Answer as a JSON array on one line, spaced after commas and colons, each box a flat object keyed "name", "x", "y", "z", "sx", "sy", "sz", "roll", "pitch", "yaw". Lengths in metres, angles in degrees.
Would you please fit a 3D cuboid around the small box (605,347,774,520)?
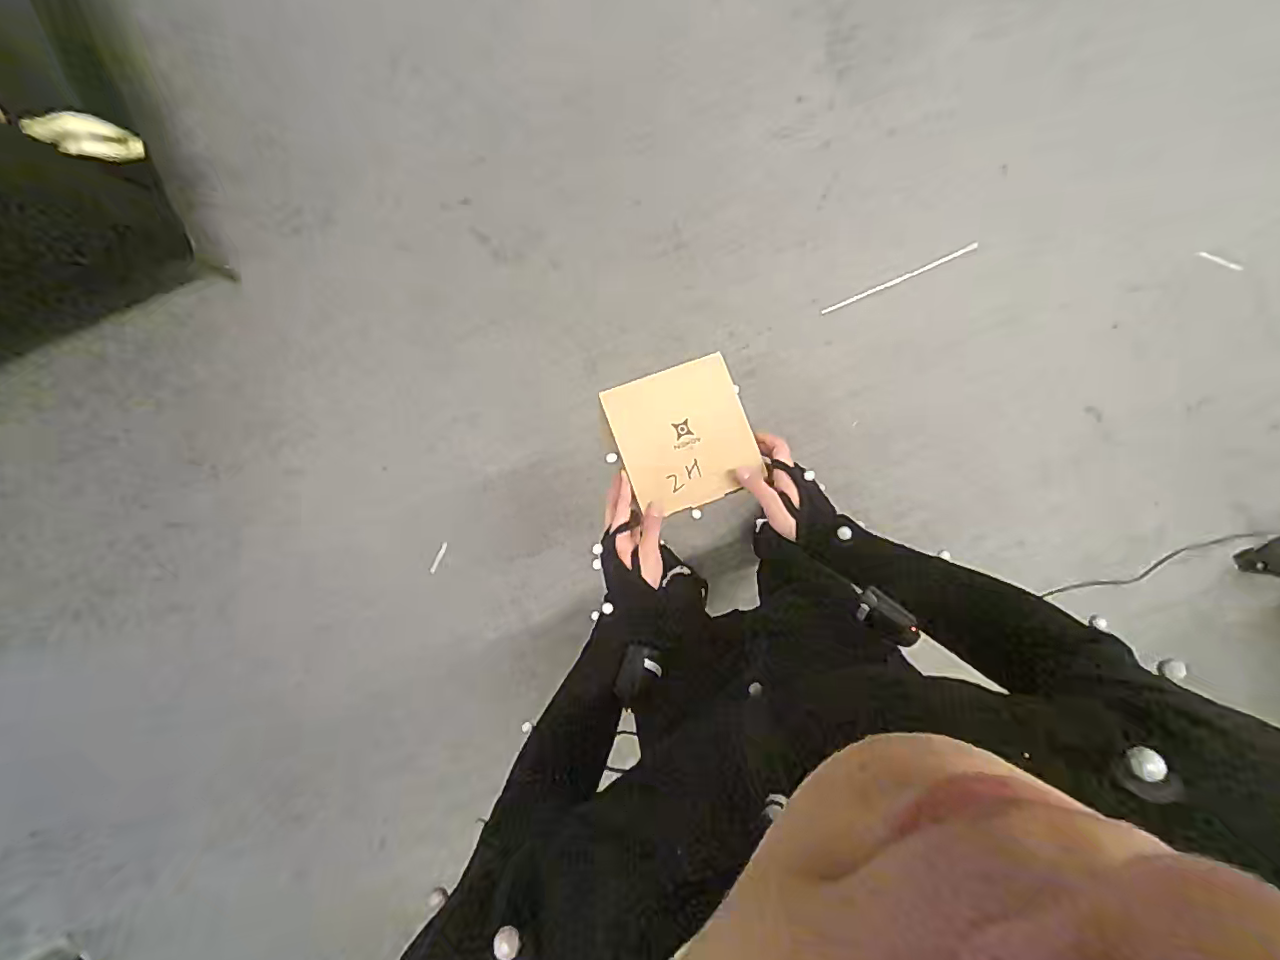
[{"name": "small box", "x": 0.056, "y": -0.052, "z": 0.736, "sx": 0.168, "sy": 0.176, "sz": 0.179, "roll": -20, "pitch": 86, "yaw": -4}]
